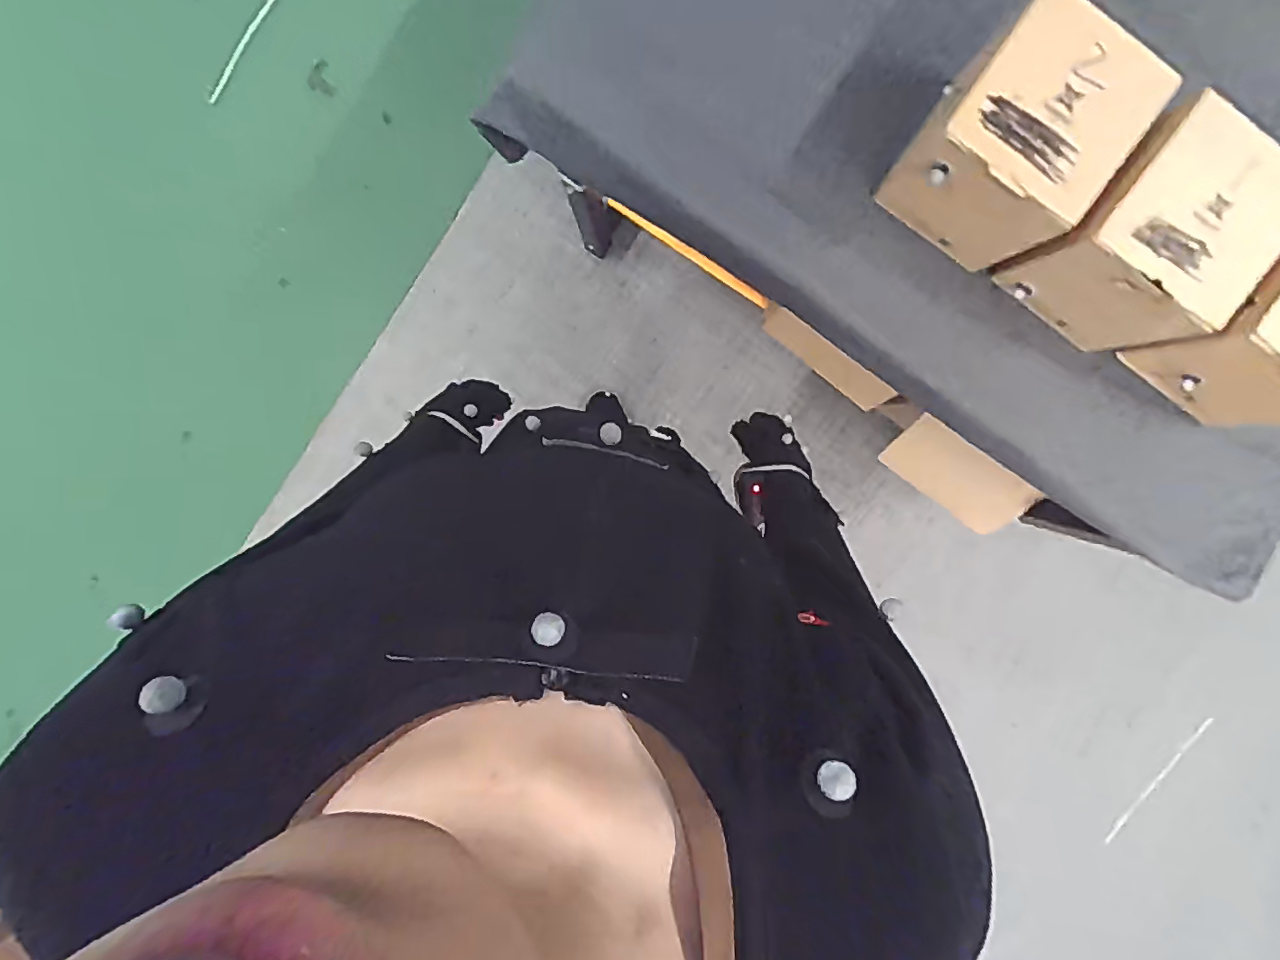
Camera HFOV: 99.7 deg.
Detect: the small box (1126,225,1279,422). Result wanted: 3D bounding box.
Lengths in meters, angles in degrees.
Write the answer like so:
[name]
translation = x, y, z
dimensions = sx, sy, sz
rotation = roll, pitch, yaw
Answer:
[small box]
translation = 0.747, -0.184, 0.635
dimensions = 0.168, 0.176, 0.179
rotation = 35, 96, -4
